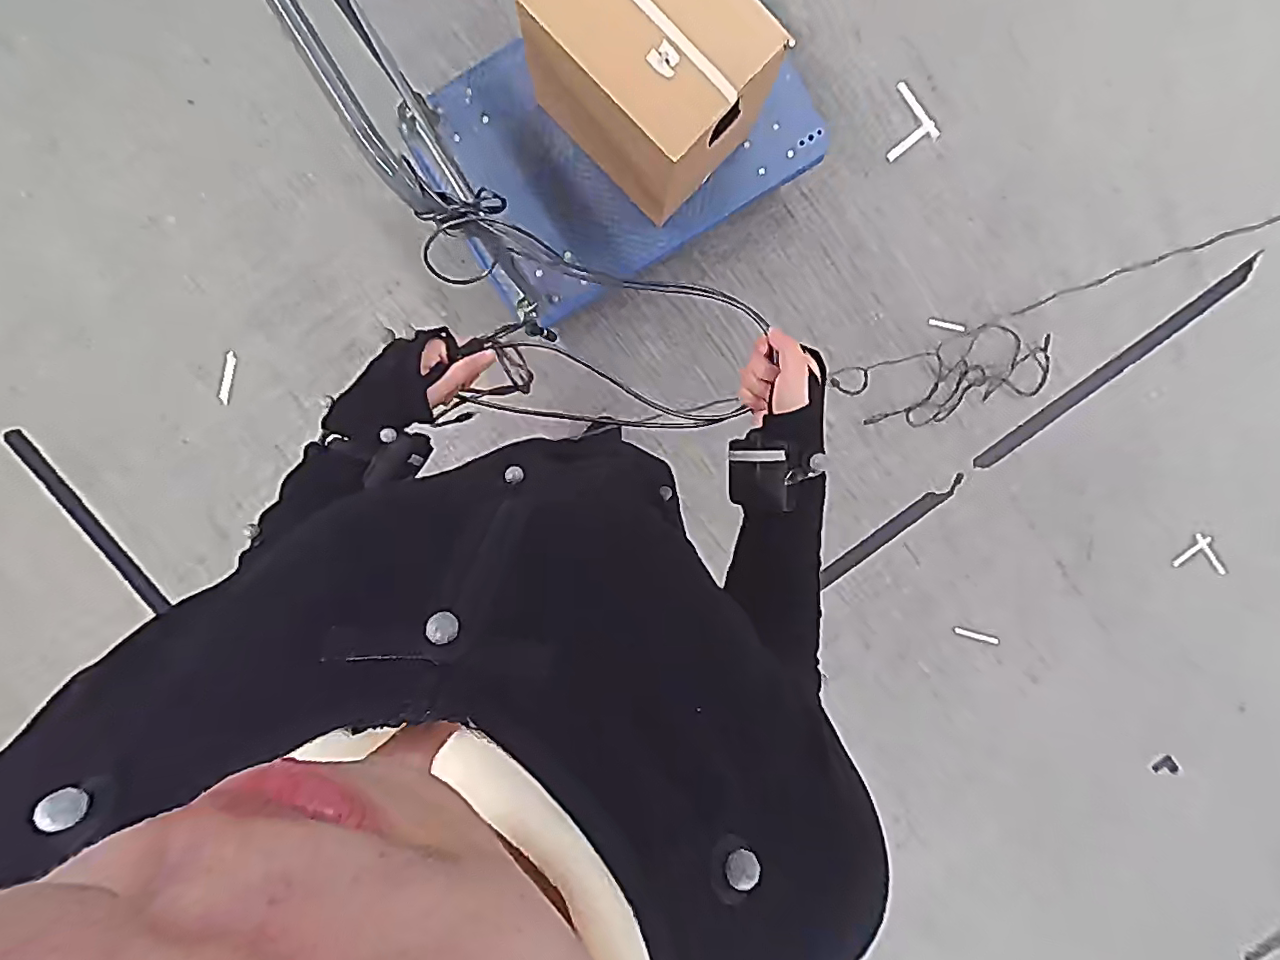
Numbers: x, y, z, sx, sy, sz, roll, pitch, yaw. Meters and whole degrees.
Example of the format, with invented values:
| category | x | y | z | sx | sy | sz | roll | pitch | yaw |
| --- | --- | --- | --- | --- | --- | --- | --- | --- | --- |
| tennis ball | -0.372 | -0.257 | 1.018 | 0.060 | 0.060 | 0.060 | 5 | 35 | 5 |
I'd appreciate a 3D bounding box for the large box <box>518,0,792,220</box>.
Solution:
| category | x | y | z | sx | sy | sz | roll | pitch | yaw |
| --- | --- | --- | --- | --- | --- | --- | --- | --- | --- |
| large box | 0.018 | -0.836 | 1.102 | 0.408 | 0.320 | 0.320 | 43 | 92 | -7 |
